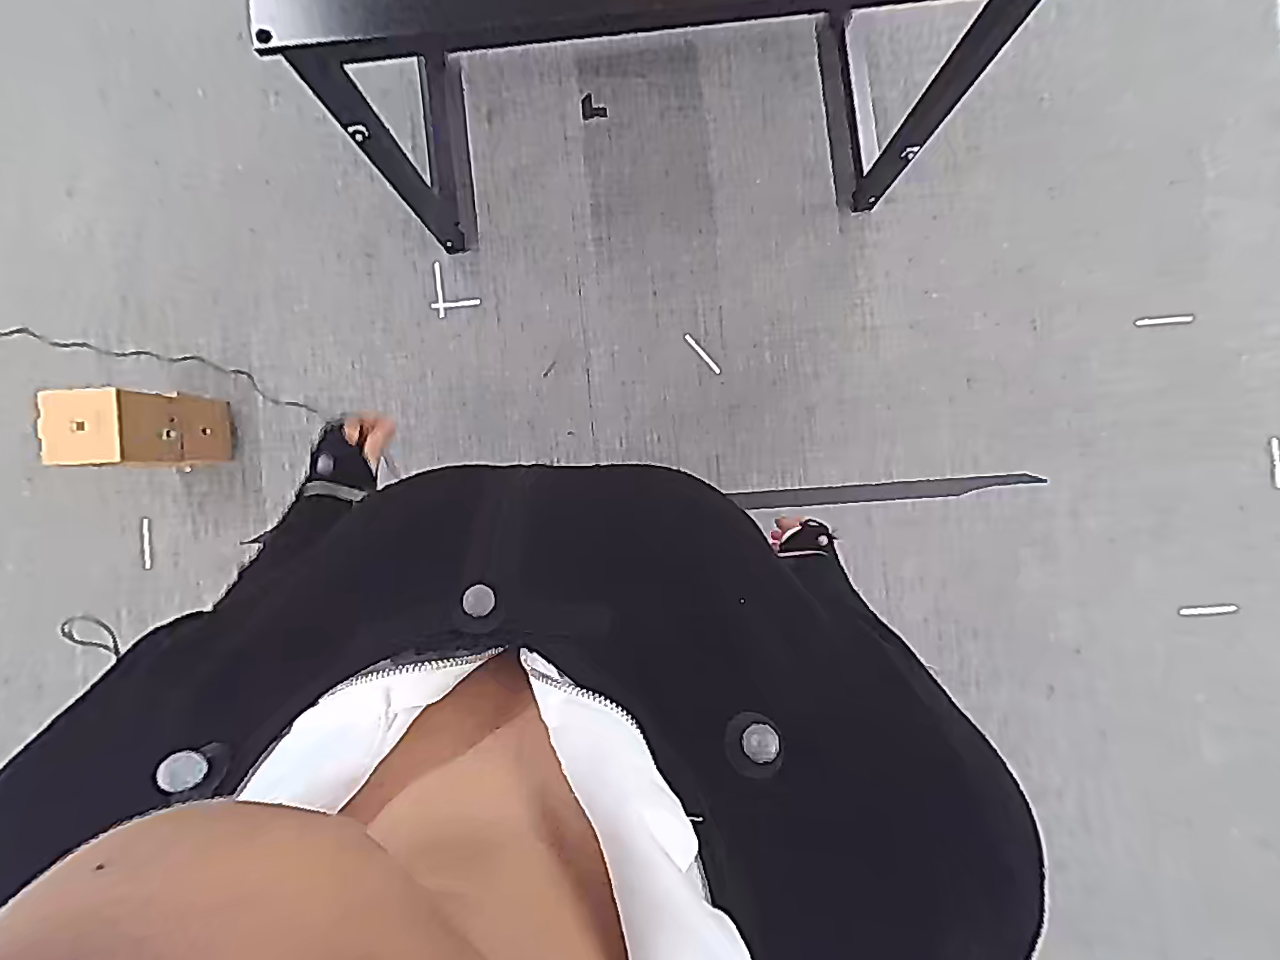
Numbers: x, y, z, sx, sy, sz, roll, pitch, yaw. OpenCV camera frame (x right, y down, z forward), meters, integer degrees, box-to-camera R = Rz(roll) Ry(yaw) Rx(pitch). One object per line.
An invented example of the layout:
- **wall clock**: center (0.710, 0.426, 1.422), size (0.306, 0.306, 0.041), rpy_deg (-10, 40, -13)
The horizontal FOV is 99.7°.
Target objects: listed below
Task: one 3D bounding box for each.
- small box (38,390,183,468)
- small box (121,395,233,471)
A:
- **small box**: center (-1.221, -0.113, 1.258), size (0.179, 0.176, 0.168), rpy_deg (-4, 91, -1)
- **small box**: center (-1.217, -0.118, 1.421), size (0.168, 0.176, 0.179), rpy_deg (-6, 90, 0)
